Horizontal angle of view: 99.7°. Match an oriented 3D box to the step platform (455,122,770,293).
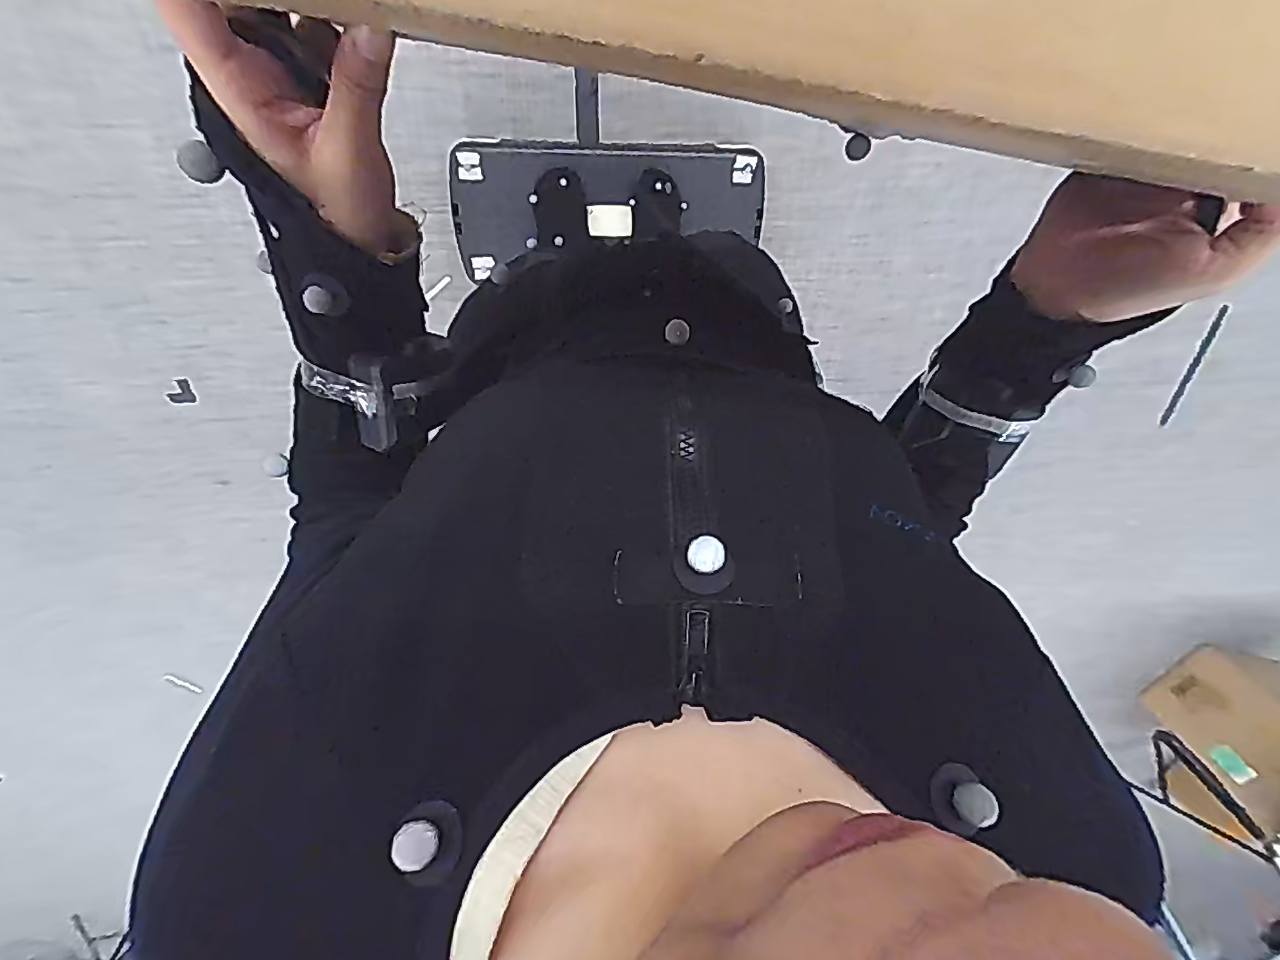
[{"bbox_3d":[-0.060,-0.608,1.229,0.684,0.204,0.286,2,122,-8],"label":"step platform"}]
